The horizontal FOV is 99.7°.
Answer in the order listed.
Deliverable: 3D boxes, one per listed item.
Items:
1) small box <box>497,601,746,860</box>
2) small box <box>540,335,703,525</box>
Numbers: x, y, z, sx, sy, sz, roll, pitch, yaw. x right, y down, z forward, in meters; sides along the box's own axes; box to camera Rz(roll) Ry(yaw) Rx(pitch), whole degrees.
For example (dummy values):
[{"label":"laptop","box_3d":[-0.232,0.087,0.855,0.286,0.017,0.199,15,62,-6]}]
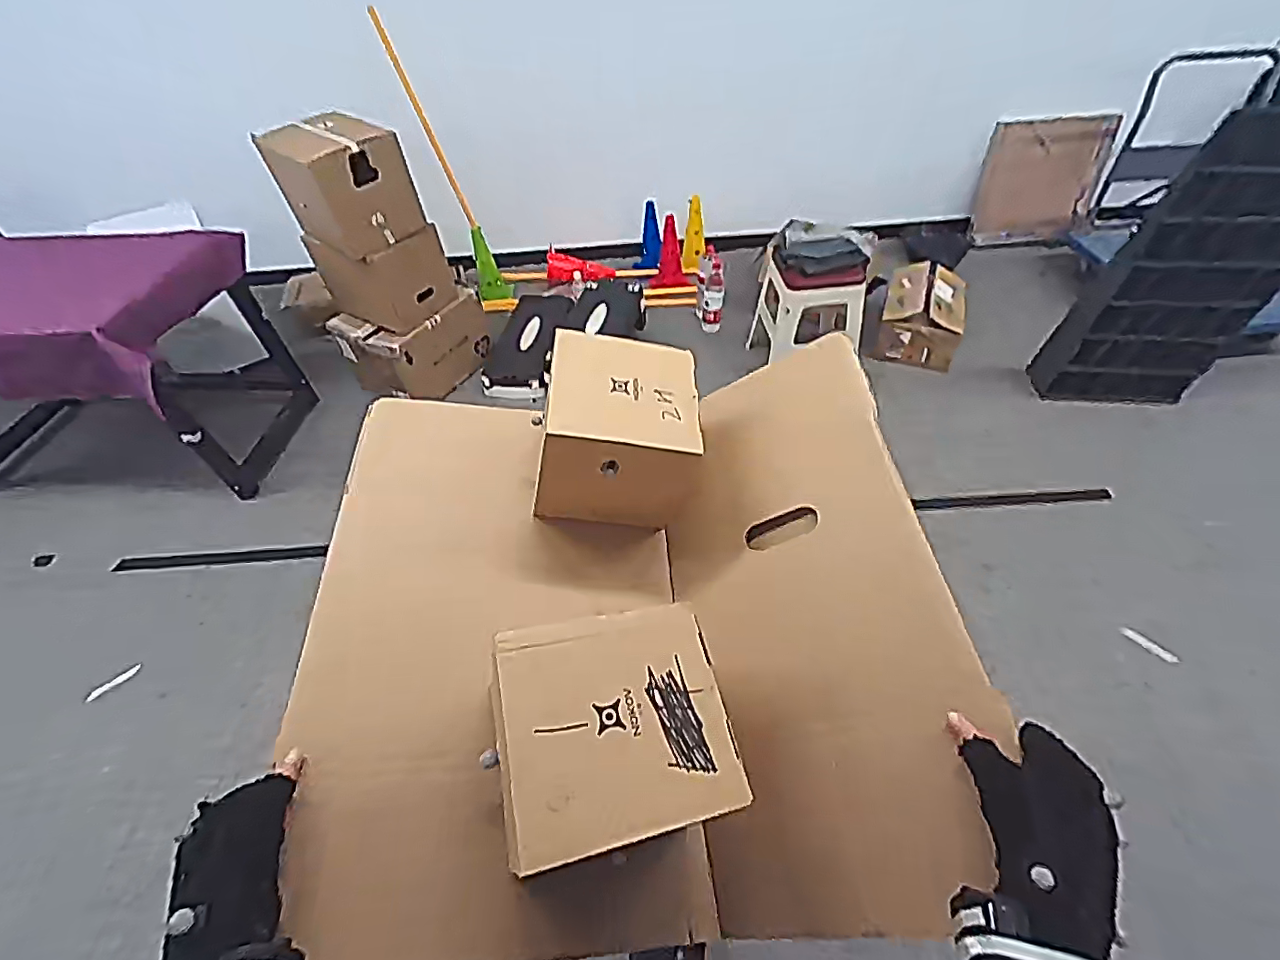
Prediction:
[{"label":"small box","box_3d":[-0.034,0.228,0.497,0.179,0.176,0.168,-4,57,-19]},{"label":"small box","box_3d":[-0.031,-0.056,0.699,0.179,0.176,0.168,9,54,-11]}]
